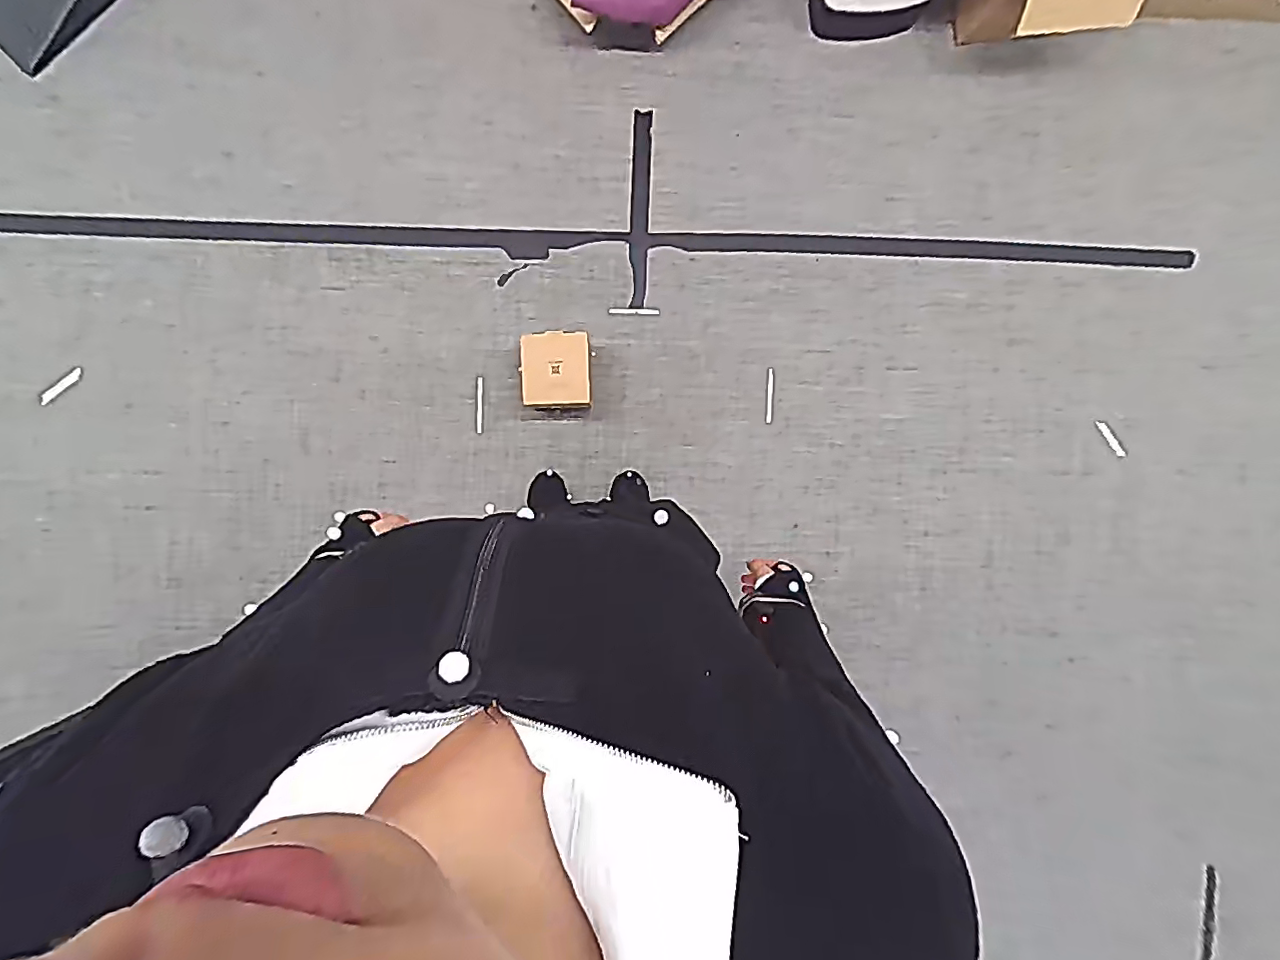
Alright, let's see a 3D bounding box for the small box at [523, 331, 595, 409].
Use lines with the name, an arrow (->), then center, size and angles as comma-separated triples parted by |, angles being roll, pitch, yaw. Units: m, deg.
small box -> -0.206, -0.278, 1.398 | 0.168, 0.176, 0.179 | -2, 94, -1
